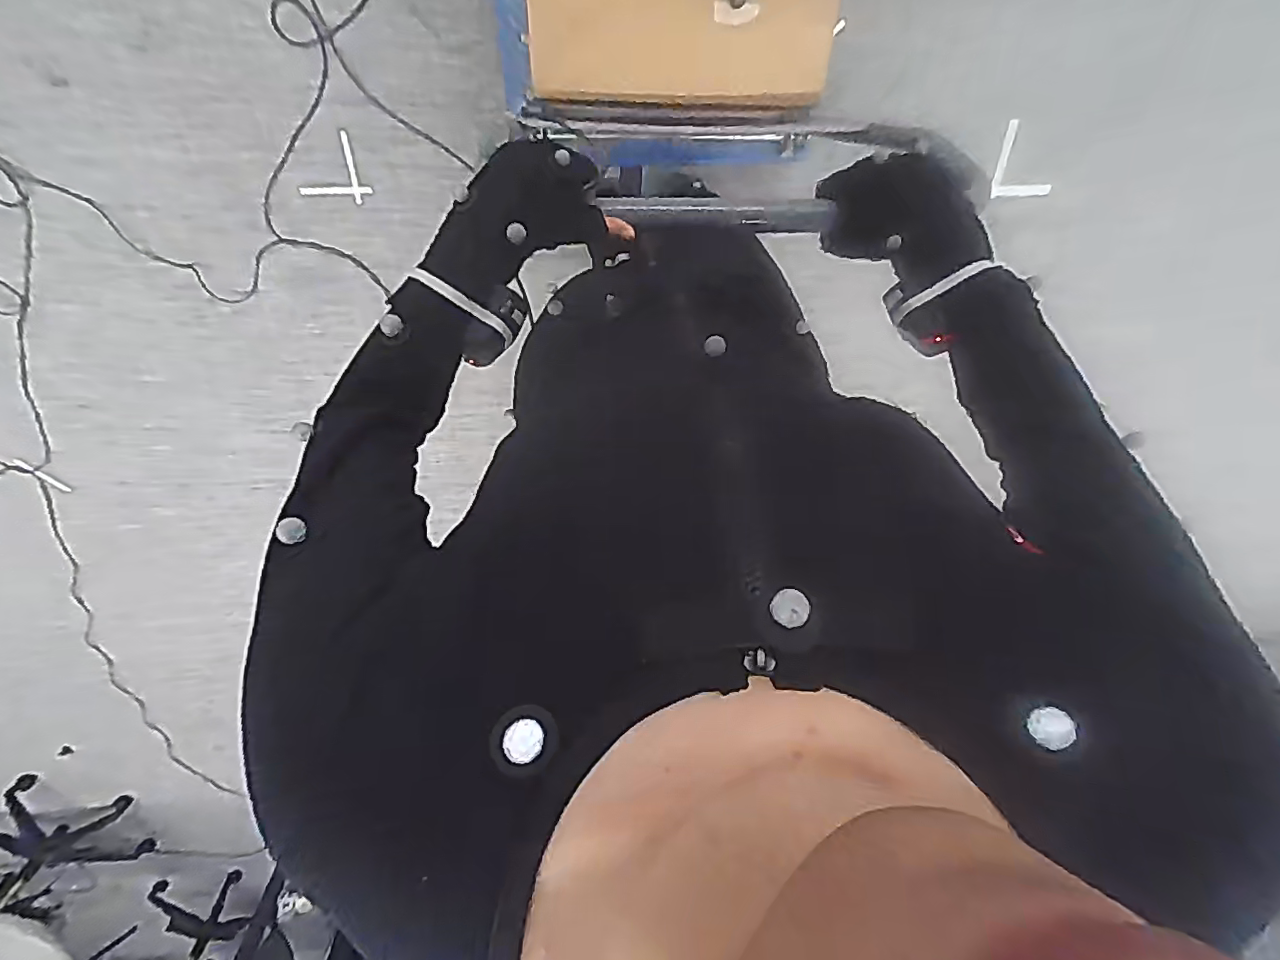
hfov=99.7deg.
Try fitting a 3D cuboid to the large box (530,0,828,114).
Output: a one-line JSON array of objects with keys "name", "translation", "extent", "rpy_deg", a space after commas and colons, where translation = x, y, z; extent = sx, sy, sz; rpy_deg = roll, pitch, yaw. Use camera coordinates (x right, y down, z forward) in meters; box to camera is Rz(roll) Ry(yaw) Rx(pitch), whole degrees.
[{"name": "large box", "translation": [0.039, -0.745, 0.812], "extent": [0.408, 0.320, 0.320], "rpy_deg": [-2, 123, -5]}]
